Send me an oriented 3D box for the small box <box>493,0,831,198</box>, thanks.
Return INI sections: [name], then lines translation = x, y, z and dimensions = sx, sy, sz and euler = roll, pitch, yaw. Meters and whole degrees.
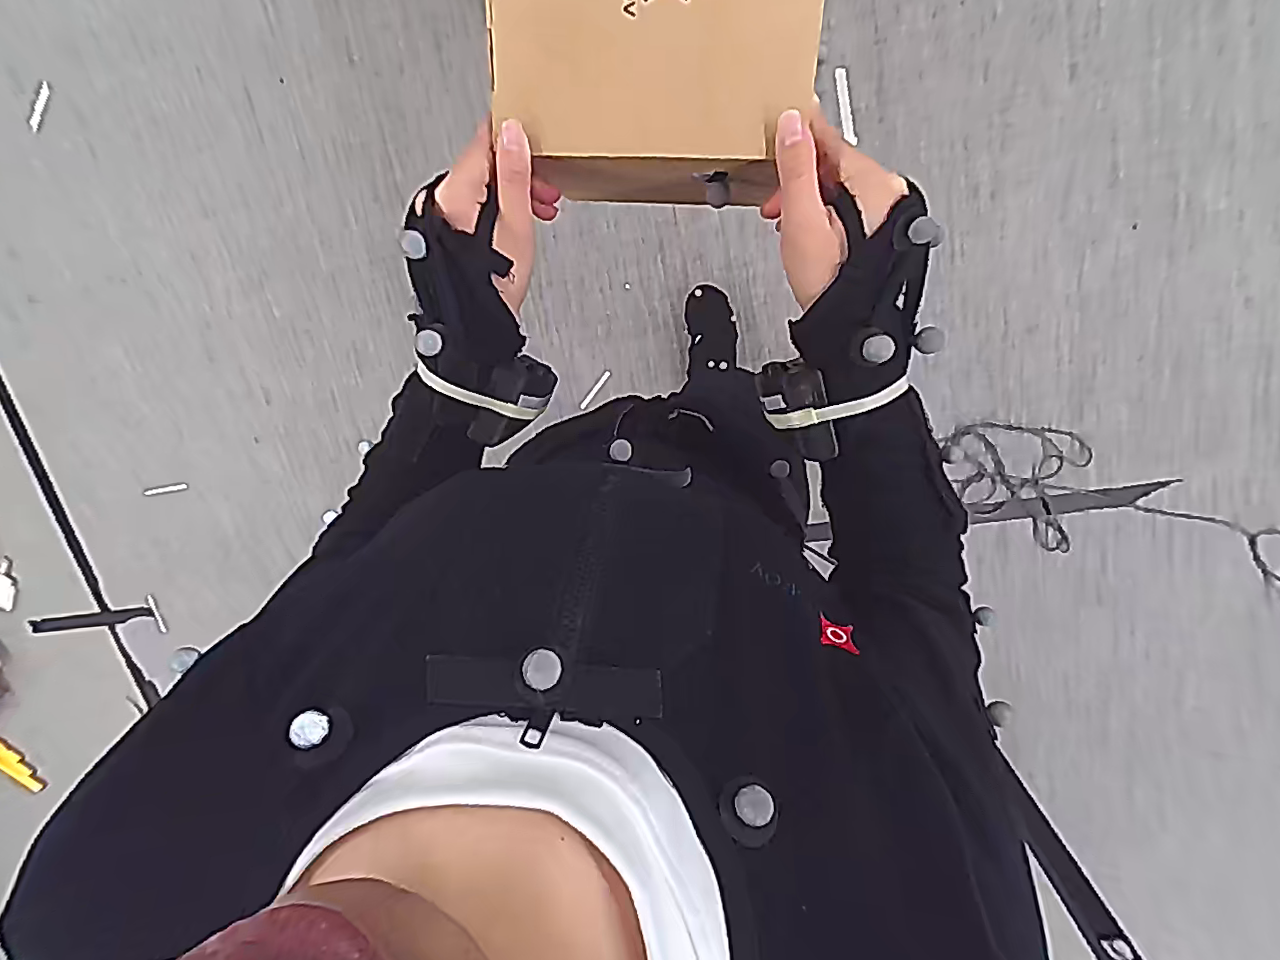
[small box]
translation = 0.020, -0.285, 0.342
dimensions = 0.179, 0.176, 0.168
euler = 5, 109, 7
